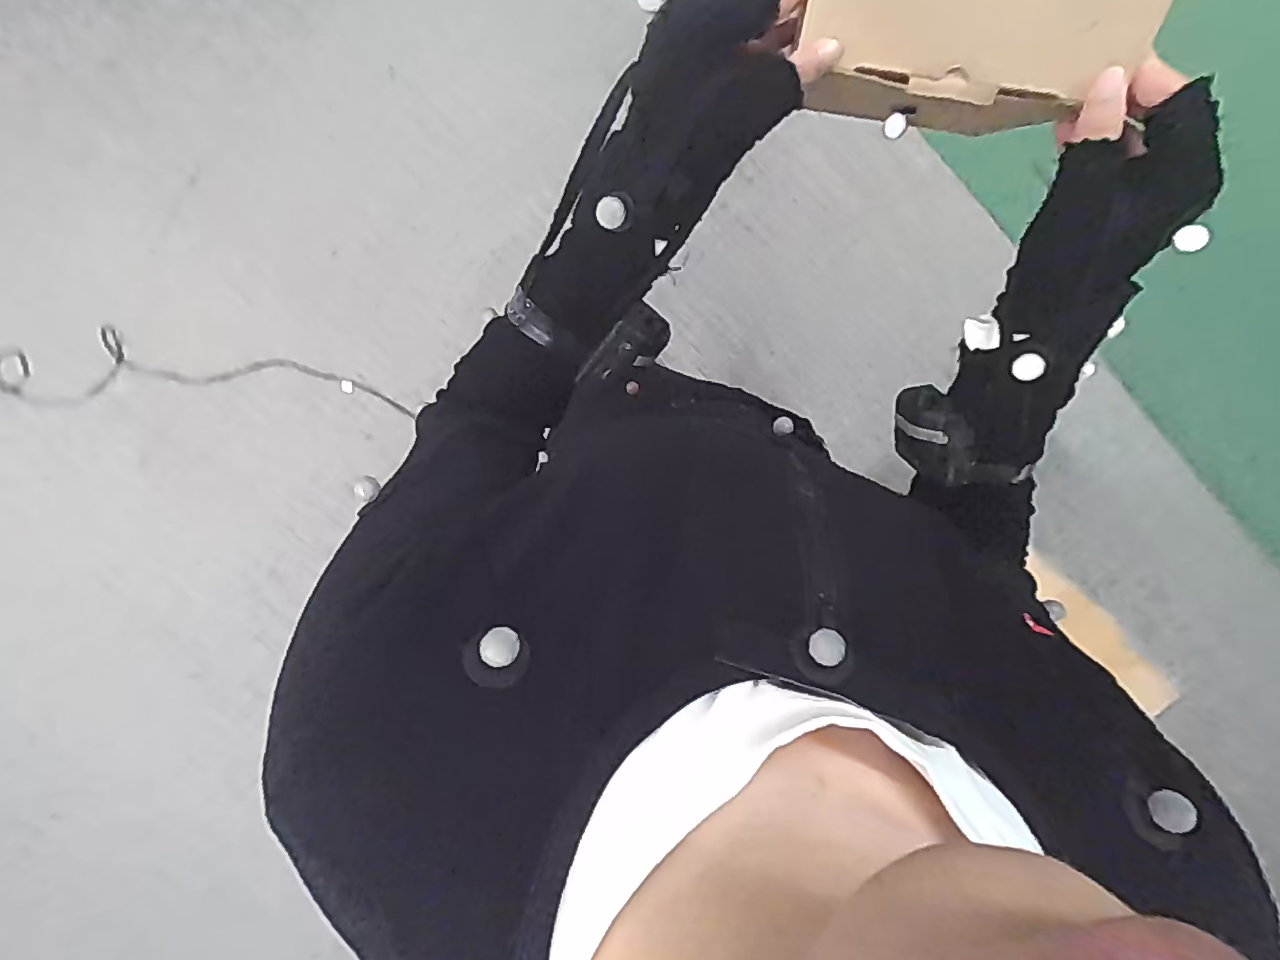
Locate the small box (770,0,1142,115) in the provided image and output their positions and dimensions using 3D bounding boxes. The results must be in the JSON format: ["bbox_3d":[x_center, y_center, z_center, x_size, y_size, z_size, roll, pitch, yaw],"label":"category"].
[{"bbox_3d":[0.176,-0.323,0.307,0.168,0.176,0.179,9,121,2],"label":"small box"}]
